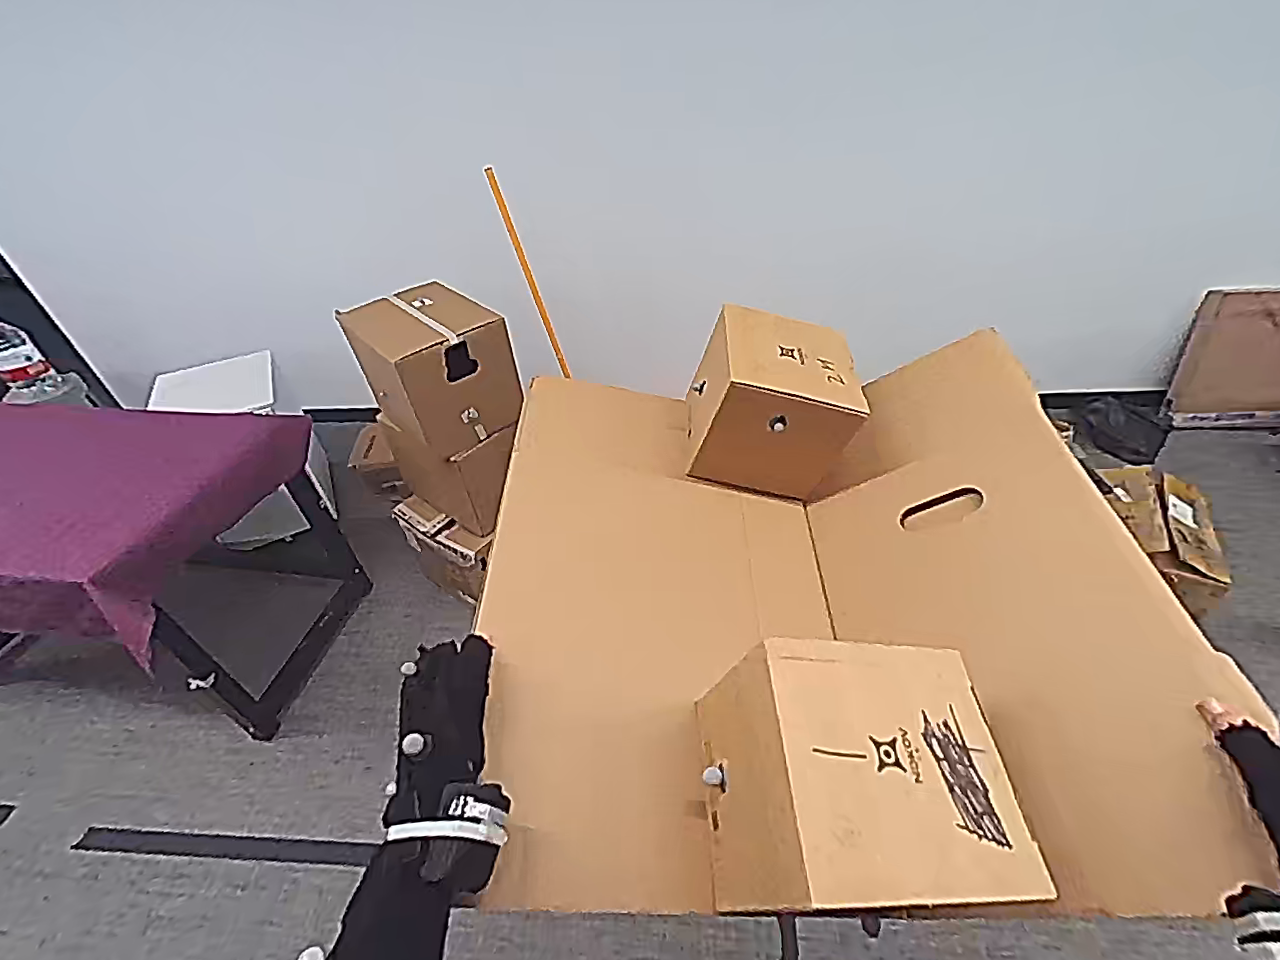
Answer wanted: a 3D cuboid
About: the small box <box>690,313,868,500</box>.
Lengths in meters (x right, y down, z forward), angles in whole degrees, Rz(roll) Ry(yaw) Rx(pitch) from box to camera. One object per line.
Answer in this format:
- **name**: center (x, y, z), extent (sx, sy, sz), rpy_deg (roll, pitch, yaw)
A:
- **small box**: center (0.172, -0.093, 0.731), extent (0.179, 0.176, 0.168), rpy_deg (13, 49, -8)
